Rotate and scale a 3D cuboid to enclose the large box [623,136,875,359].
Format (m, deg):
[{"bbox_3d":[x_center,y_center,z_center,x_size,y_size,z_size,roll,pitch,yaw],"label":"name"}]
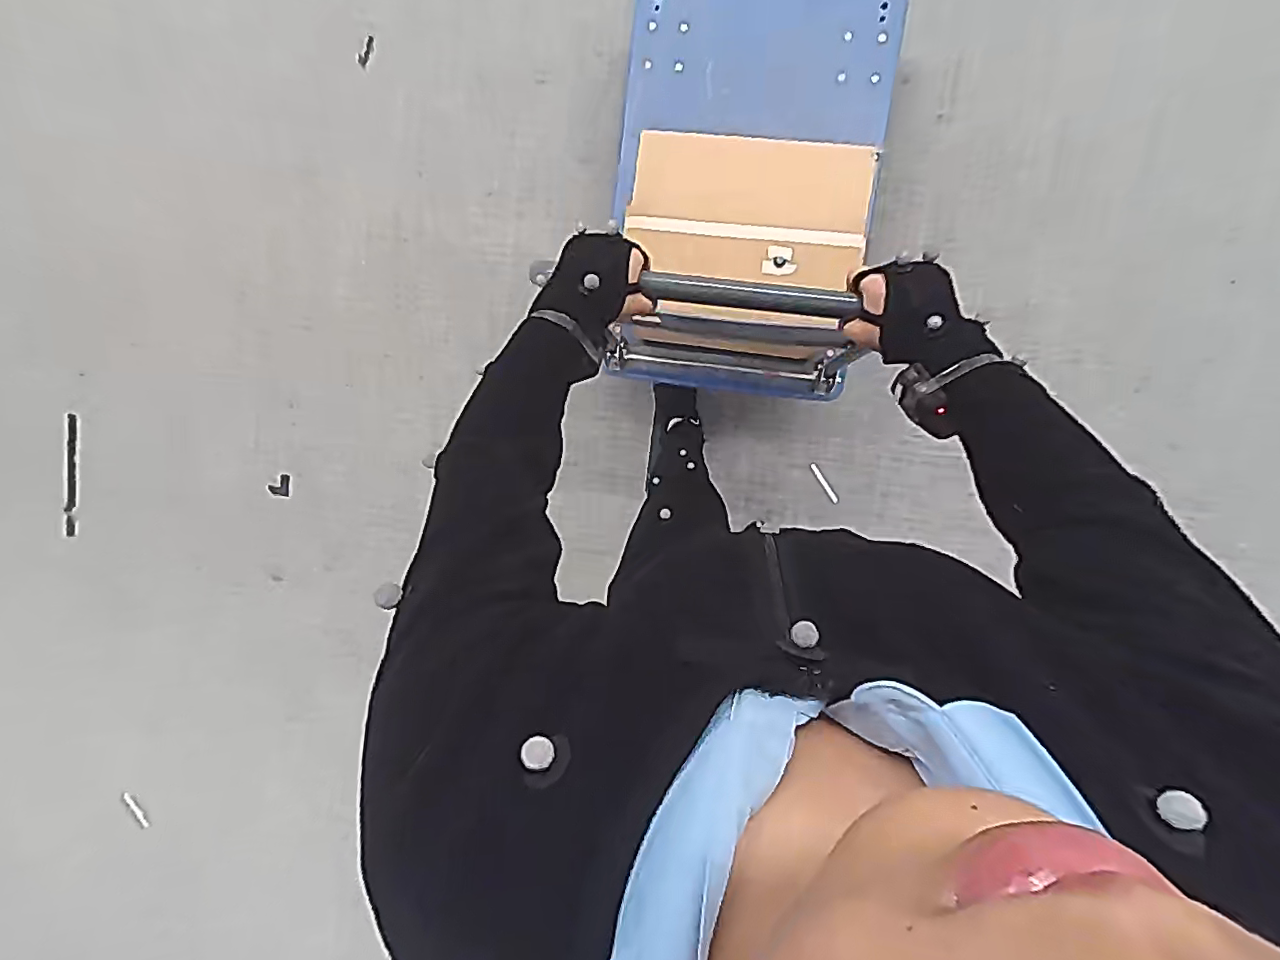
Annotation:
[{"bbox_3d":[0.194,-0.436,1.083,0.408,0.320,0.320,8,96,5],"label":"large box"}]
